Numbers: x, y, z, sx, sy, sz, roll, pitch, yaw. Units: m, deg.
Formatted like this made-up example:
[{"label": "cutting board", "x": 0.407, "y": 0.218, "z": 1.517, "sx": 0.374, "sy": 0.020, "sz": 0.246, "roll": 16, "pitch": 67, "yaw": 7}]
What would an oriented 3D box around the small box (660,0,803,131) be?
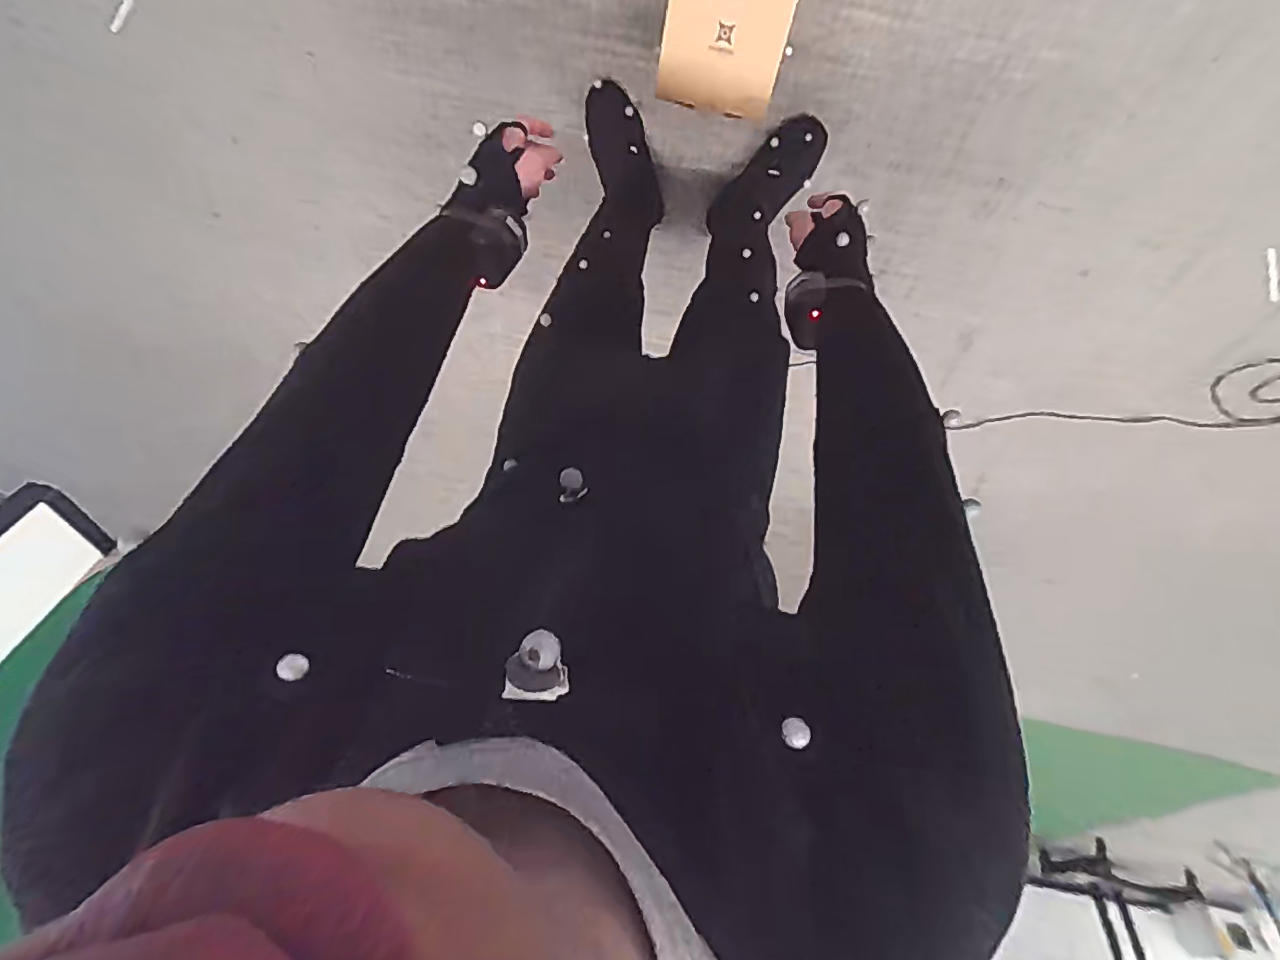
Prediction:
[{"label": "small box", "x": 0.133, "y": -0.648, "z": 0.792, "sx": 0.168, "sy": 0.176, "sz": 0.179, "roll": 11, "pitch": 137, "yaw": -1}]
